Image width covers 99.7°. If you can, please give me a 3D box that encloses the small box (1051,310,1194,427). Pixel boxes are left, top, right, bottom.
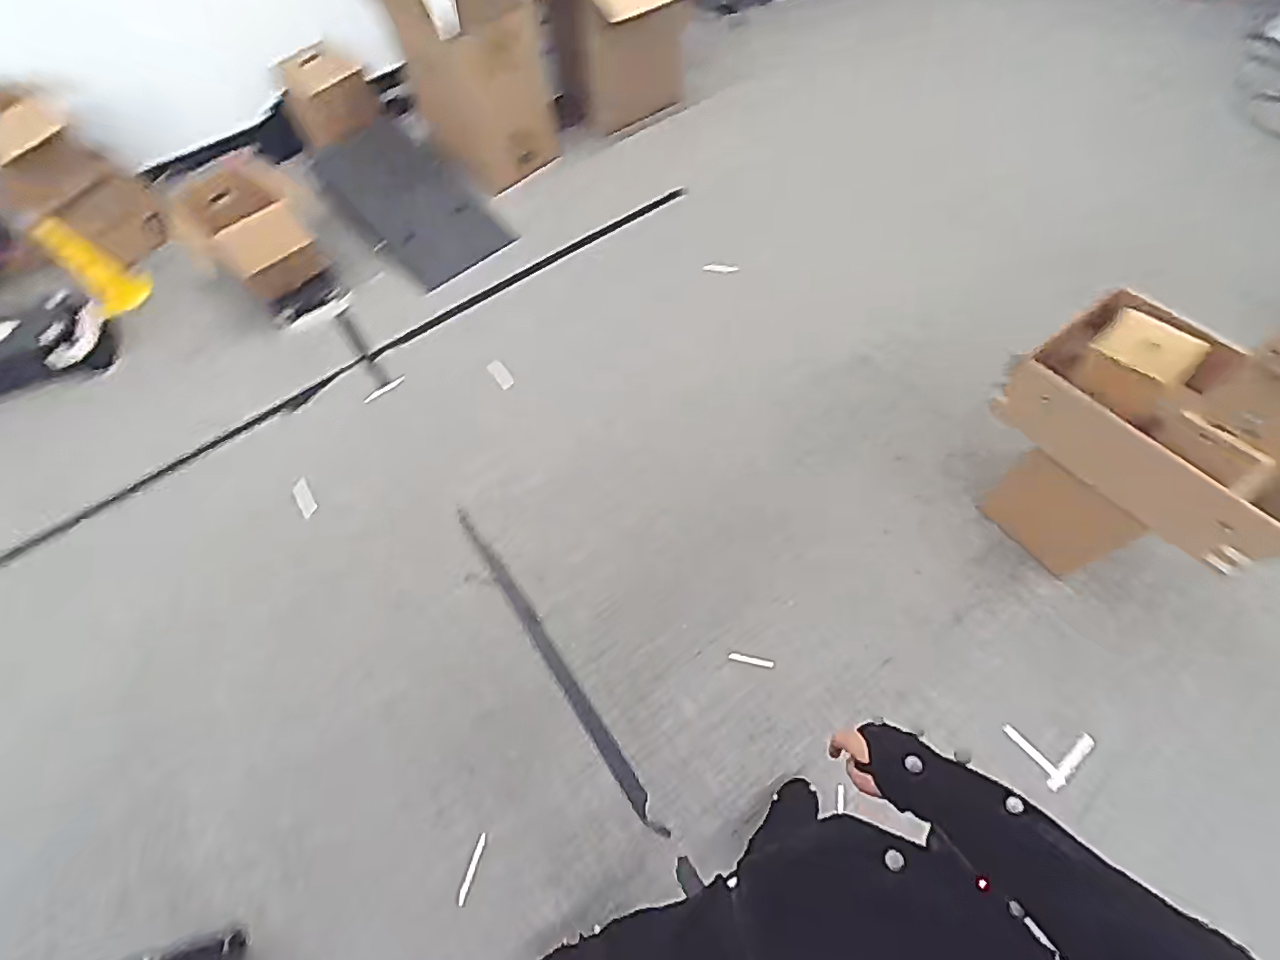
[{"bbox_3d":[1.142,-0.262,1.296,0.179,0.176,0.168,-42,66,-17],"label":"small box"}]

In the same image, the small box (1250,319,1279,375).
[{"bbox_3d":[1.210,-0.254,0.905,0.179,0.176,0.168,-28,59,-11],"label":"small box"}]

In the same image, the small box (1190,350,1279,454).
[{"bbox_3d":[1.252,-0.185,1.053,0.179,0.176,0.168,-33,60,-13],"label":"small box"}]
